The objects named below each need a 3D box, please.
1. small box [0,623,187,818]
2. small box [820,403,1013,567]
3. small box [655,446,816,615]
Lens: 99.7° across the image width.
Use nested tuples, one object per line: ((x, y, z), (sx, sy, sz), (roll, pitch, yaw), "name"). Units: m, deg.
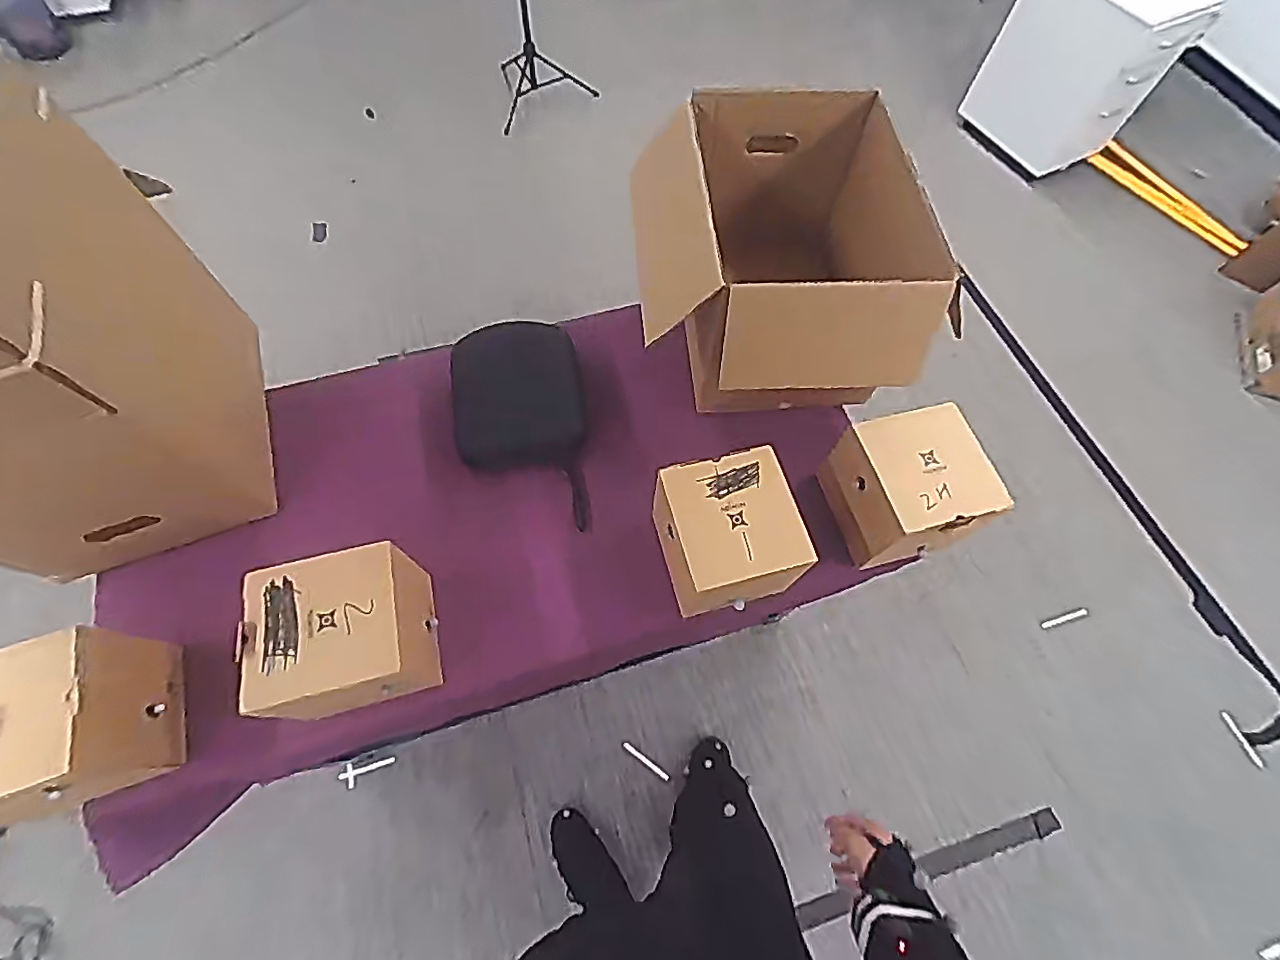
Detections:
((-0.706, 0.296, 0.658), (0.179, 0.176, 0.168), (-18, 67, -11), "small box")
((0.397, 0.012, 0.817), (0.168, 0.176, 0.179), (-13, 66, -6), "small box")
((0.123, 0.078, 0.781), (0.168, 0.176, 0.179), (-13, 67, -7), "small box")
